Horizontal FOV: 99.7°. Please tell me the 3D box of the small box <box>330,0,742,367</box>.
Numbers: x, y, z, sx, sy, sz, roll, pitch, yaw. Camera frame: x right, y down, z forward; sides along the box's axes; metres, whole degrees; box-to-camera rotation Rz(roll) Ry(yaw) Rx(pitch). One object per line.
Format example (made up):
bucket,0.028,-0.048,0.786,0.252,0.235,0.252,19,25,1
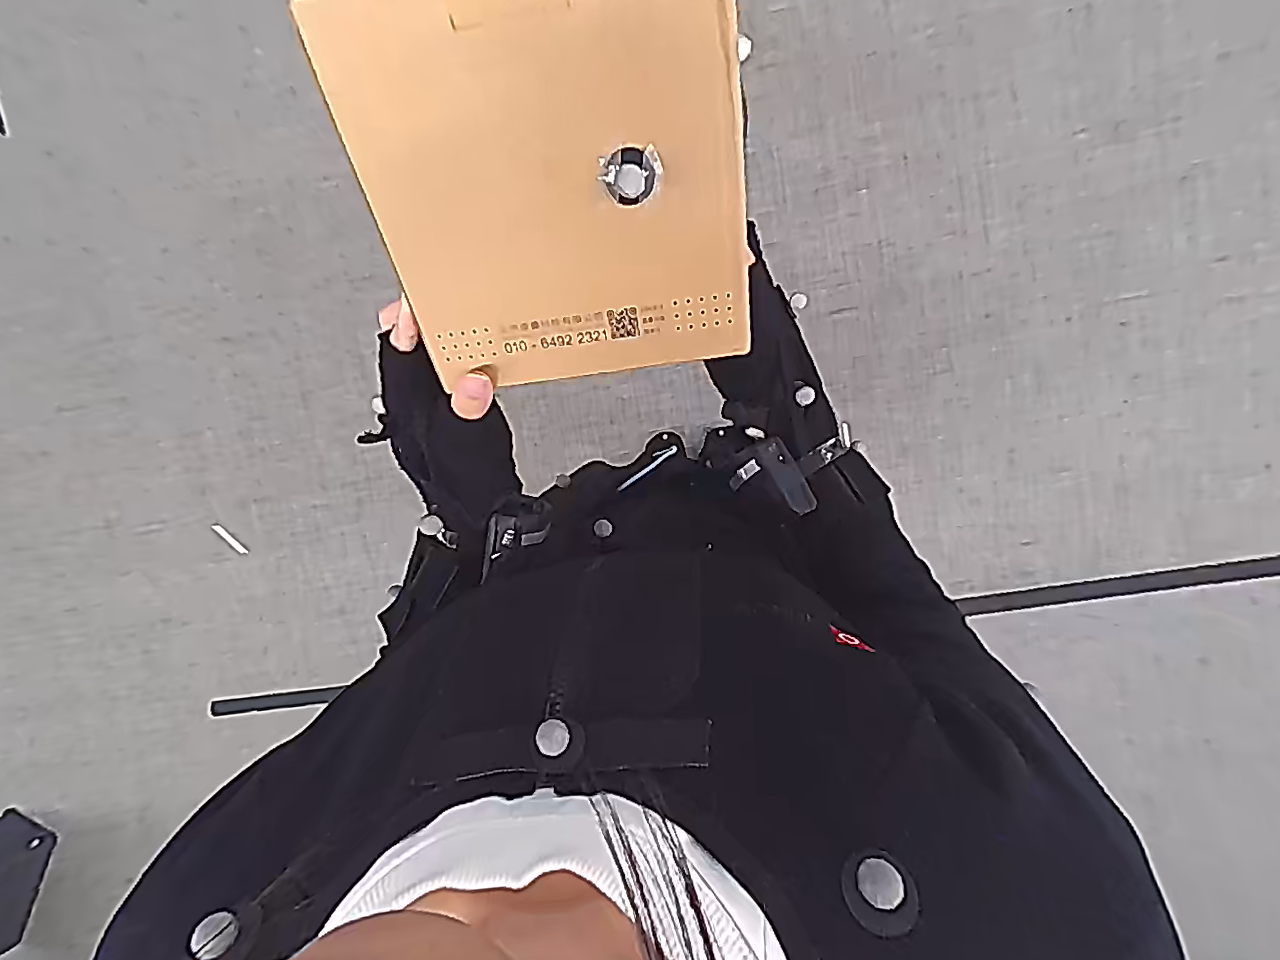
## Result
small box,-0.032,-0.176,0.324,0.168,0.179,0.176,-5,126,7
